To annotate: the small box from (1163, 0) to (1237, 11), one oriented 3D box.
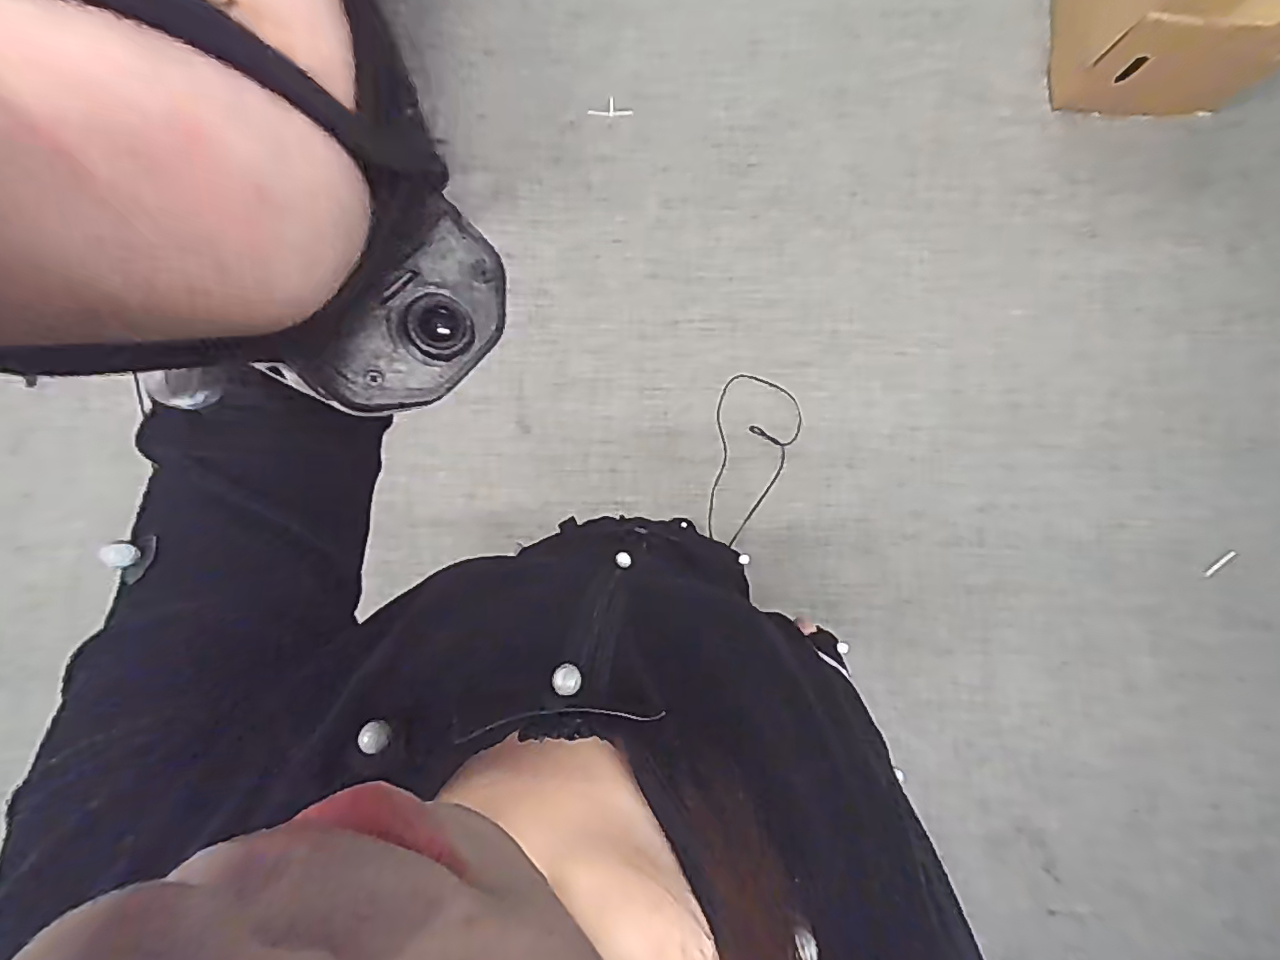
[{"bbox_3d":[1.294,-1.180,1.179,0.179,0.176,0.168,9,88,0],"label":"small box"}]
